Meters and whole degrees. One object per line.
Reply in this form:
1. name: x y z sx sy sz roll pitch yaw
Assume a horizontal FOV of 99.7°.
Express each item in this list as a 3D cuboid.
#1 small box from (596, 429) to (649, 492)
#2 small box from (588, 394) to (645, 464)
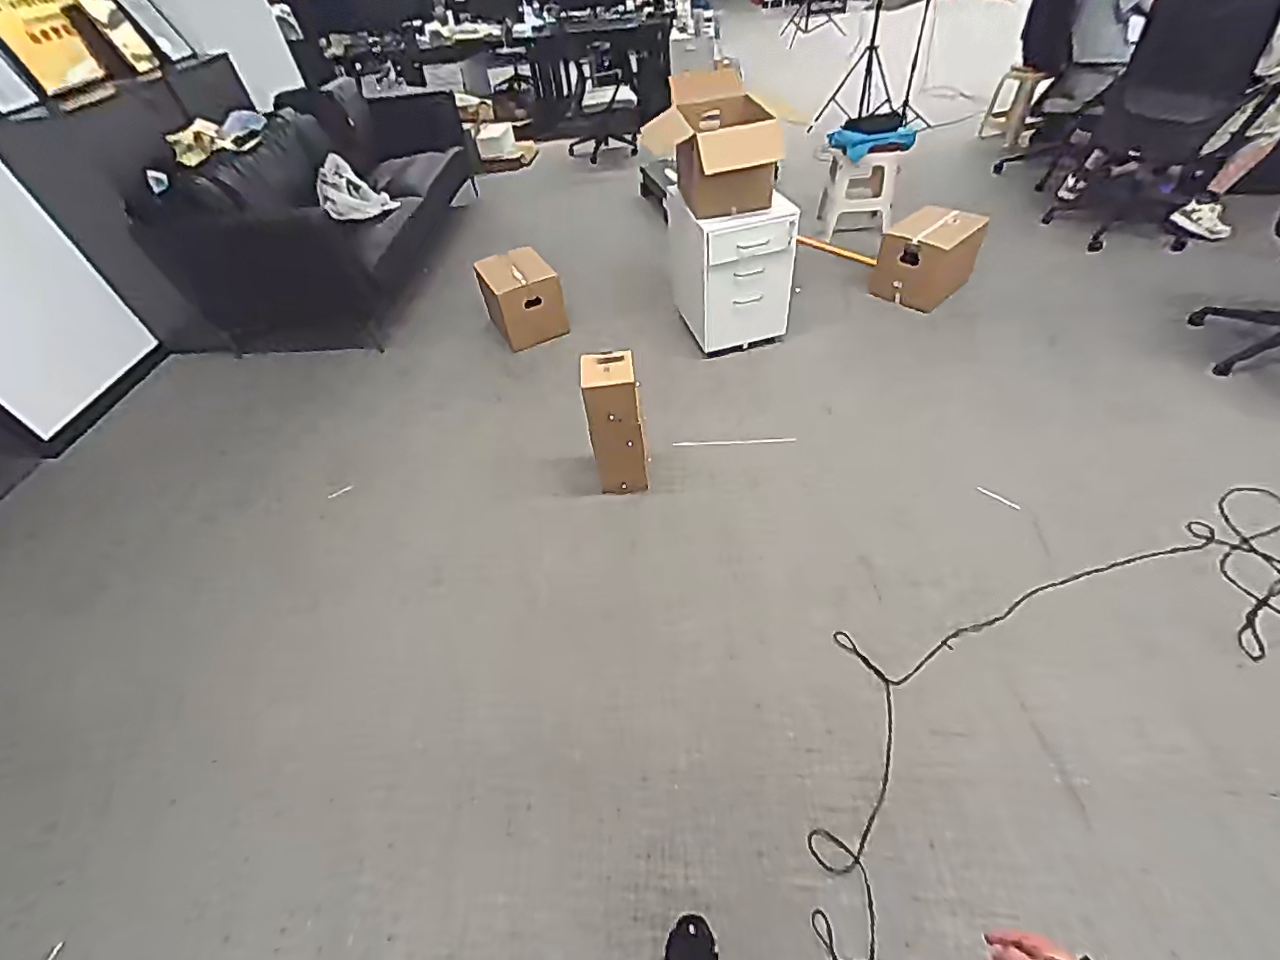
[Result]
1. small box: -0.060 -0.072 2.000 0.179 0.176 0.168 -3 47 5
2. small box: -0.076 -0.174 1.874 0.179 0.176 0.168 -6 46 4
